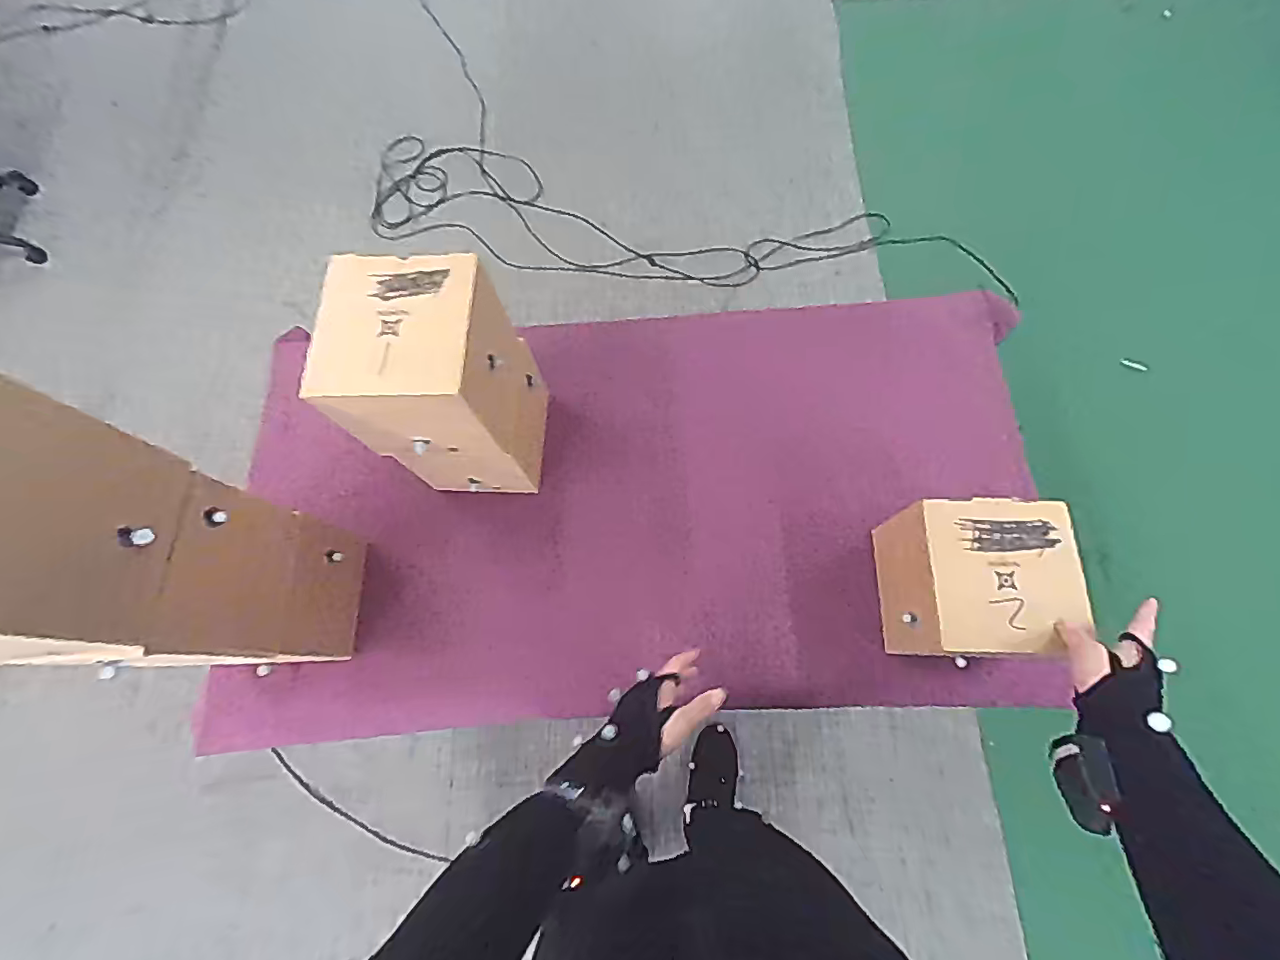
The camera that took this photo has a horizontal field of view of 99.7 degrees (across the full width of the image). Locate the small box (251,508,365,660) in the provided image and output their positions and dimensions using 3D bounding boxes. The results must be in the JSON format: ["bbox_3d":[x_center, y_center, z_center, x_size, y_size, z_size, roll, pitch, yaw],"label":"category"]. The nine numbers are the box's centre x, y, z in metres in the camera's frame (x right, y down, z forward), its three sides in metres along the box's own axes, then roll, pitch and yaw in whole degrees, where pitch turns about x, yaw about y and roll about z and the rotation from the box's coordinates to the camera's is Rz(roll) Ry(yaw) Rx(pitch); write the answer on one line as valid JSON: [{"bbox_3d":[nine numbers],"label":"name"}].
[{"bbox_3d":[-0.497,0.147,0.728,0.168,0.176,0.179,-3,70,2],"label":"small box"}]

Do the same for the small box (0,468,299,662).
[{"bbox_3d":[-0.501,0.100,0.574,0.168,0.176,0.179,-3,69,3],"label":"small box"}]

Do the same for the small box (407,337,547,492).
[{"bbox_3d":[-0.239,-0.093,0.797,0.168,0.176,0.179,2,72,4],"label":"small box"}]

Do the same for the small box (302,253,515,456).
[{"bbox_3d":[-0.253,-0.140,0.640,0.168,0.176,0.179,0,72,3],"label":"small box"}]

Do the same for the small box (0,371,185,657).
[{"bbox_3d":[-0.512,0.038,0.421,0.168,0.176,0.179,-5,69,2],"label":"small box"}]
